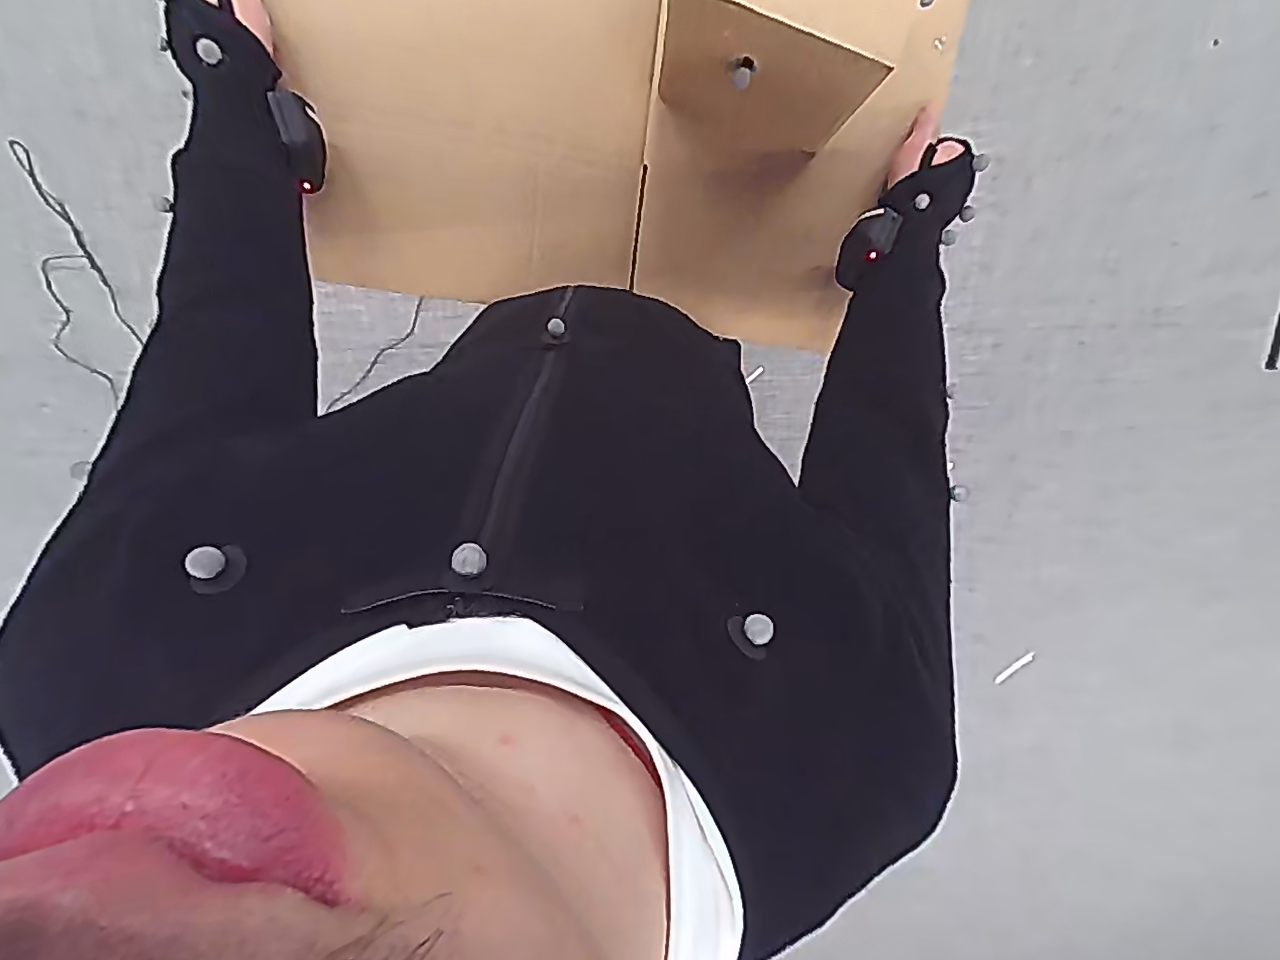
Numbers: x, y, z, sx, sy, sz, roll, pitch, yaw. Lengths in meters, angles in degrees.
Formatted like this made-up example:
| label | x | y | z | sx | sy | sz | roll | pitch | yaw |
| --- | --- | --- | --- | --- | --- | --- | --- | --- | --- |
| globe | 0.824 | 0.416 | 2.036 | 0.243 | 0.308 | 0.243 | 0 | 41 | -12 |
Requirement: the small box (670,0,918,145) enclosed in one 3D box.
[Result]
| label | x | y | z | sx | sy | sz | roll | pitch | yaw |
| --- | --- | --- | --- | --- | --- | --- | --- | --- | --- |
| small box | 0.131 | -0.421 | 0.459 | 0.179 | 0.176 | 0.168 | 17 | 102 | -4 |
